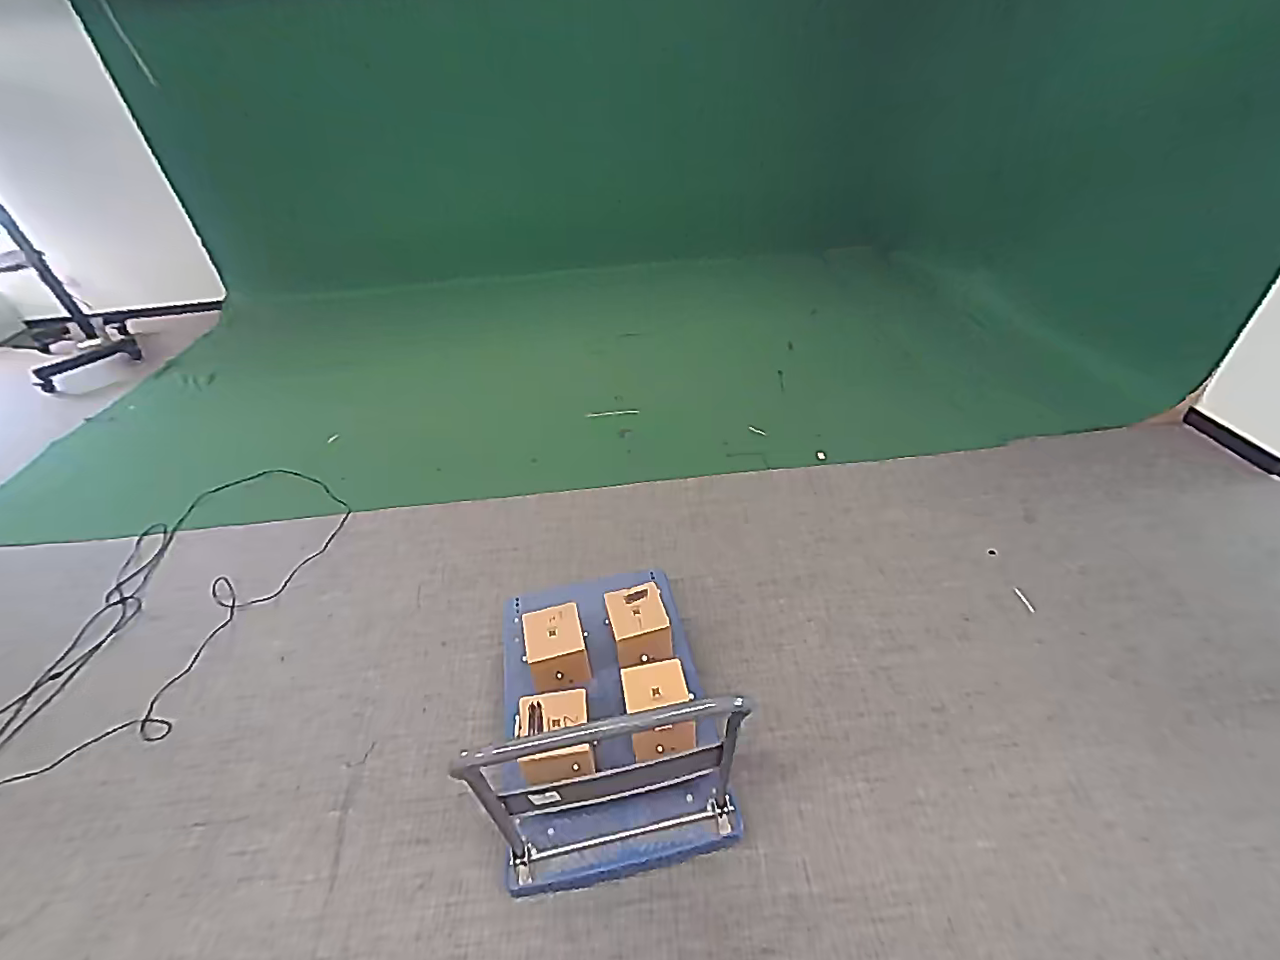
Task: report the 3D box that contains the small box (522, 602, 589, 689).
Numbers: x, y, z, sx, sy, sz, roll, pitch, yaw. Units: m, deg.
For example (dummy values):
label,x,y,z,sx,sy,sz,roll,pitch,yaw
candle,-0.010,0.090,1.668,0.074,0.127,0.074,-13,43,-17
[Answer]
label,x,y,z,sx,sy,sz,roll,pitch,yaw
small box,-0.252,0.502,1.619,0.168,0.176,0.179,-11,40,-9

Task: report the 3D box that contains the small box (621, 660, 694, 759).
label,x,y,z,sx,sy,sz,roll,pitch,yaw
small box,0.044,0.618,1.456,0.168,0.176,0.179,-9,40,-6

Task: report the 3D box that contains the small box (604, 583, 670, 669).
label,x,y,z,sx,sy,sz,roll,pitch,yaw
small box,-0.009,0.449,1.660,0.168,0.176,0.179,-13,42,-8
